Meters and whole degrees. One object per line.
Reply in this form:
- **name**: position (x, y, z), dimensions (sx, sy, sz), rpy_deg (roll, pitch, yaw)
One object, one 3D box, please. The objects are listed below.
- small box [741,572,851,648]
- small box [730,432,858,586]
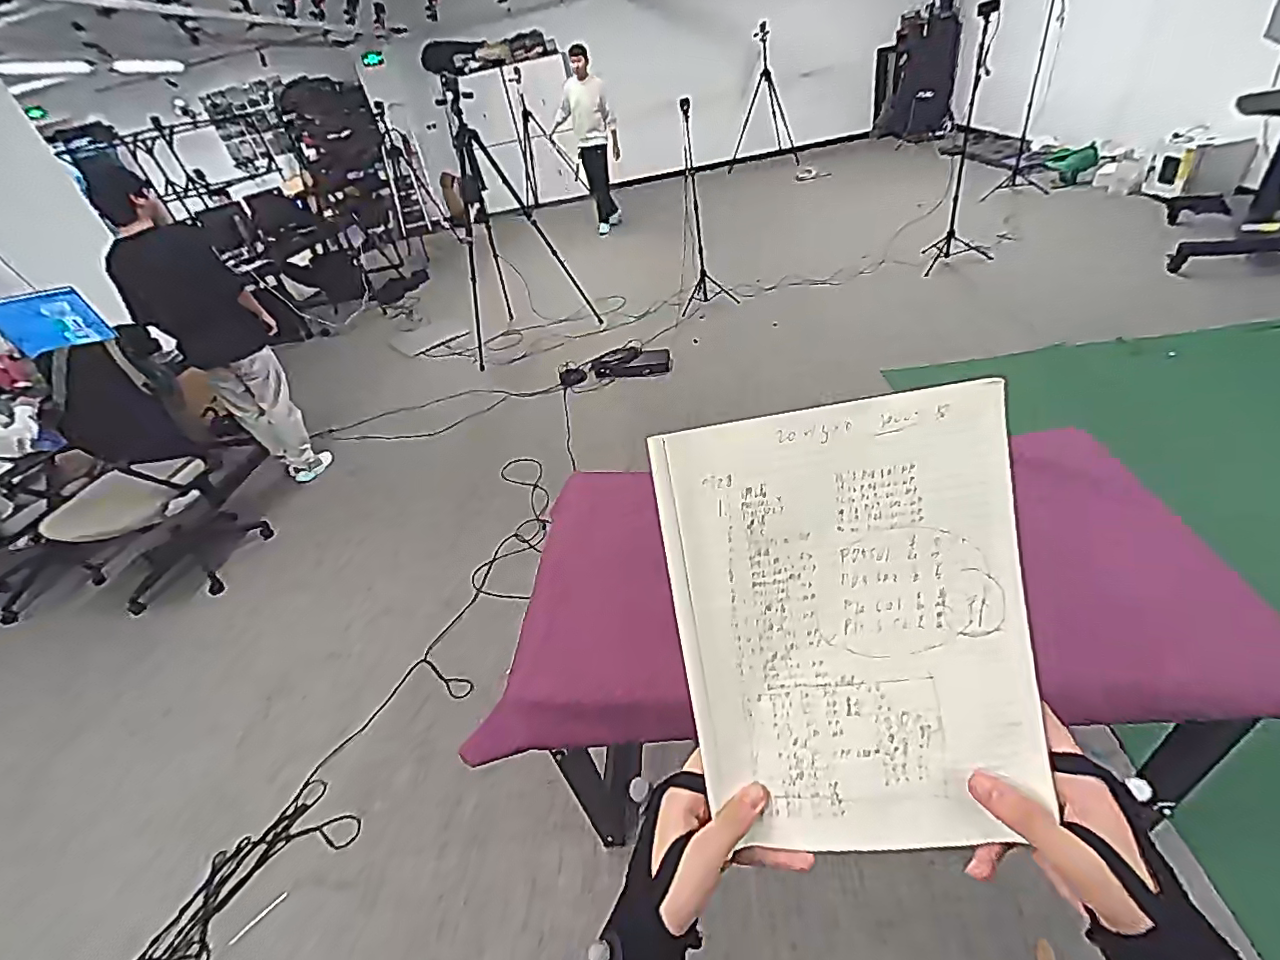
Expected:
- **small box**: position (0.261, 0.175, 0.936), dimensions (0.168, 0.176, 0.179), rpy_deg (-5, 38, 10)
- **small box**: position (0.231, 0.049, 0.833), dimensions (0.168, 0.176, 0.179), rpy_deg (-5, 36, 10)
